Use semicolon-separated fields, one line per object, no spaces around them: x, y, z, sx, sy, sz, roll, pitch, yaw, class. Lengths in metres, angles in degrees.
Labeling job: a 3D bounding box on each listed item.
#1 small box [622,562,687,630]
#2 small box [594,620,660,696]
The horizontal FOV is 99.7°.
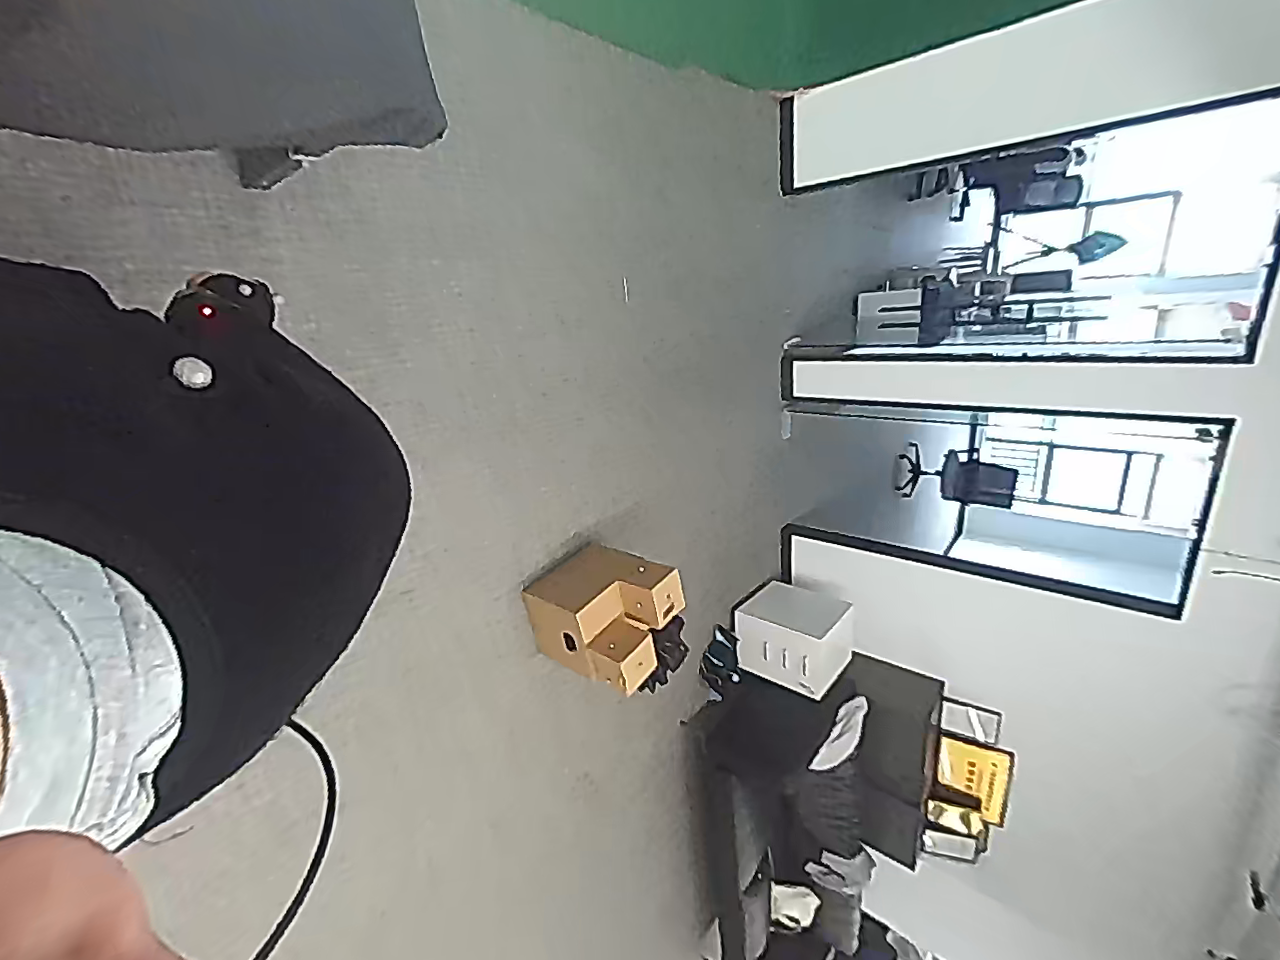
0.055;0.436;2.064;0.168;0.176;0.179;-32;118;-42;small box
-0.053;0.646;1.980;0.179;0.176;0.168;-38;128;-41;small box
